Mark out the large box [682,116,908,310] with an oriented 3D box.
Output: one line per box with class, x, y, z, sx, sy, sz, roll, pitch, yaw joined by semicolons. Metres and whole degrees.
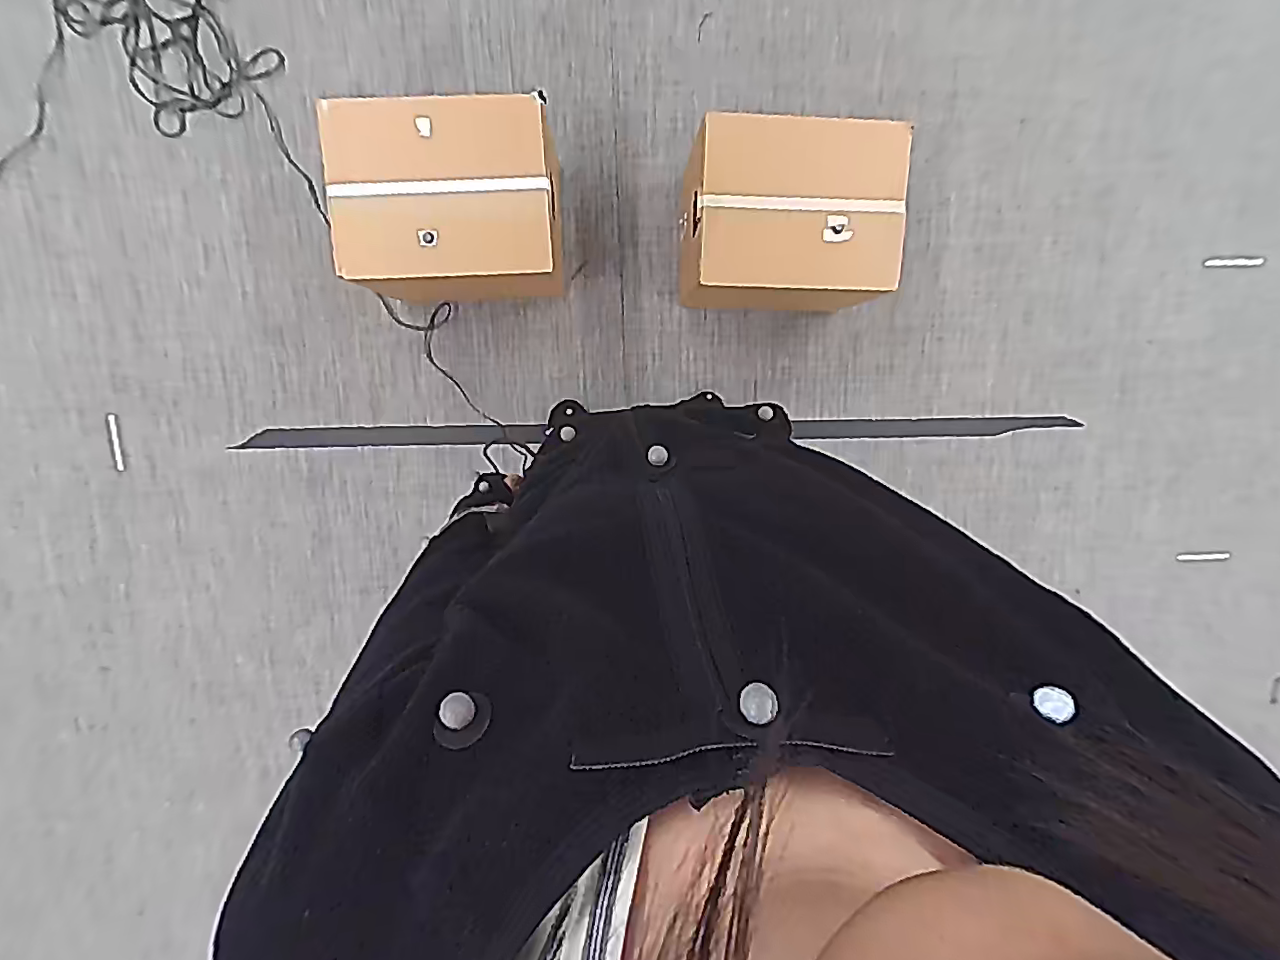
large box;0.310;-0.562;1.205;0.408;0.320;0.320;1;100;-4
